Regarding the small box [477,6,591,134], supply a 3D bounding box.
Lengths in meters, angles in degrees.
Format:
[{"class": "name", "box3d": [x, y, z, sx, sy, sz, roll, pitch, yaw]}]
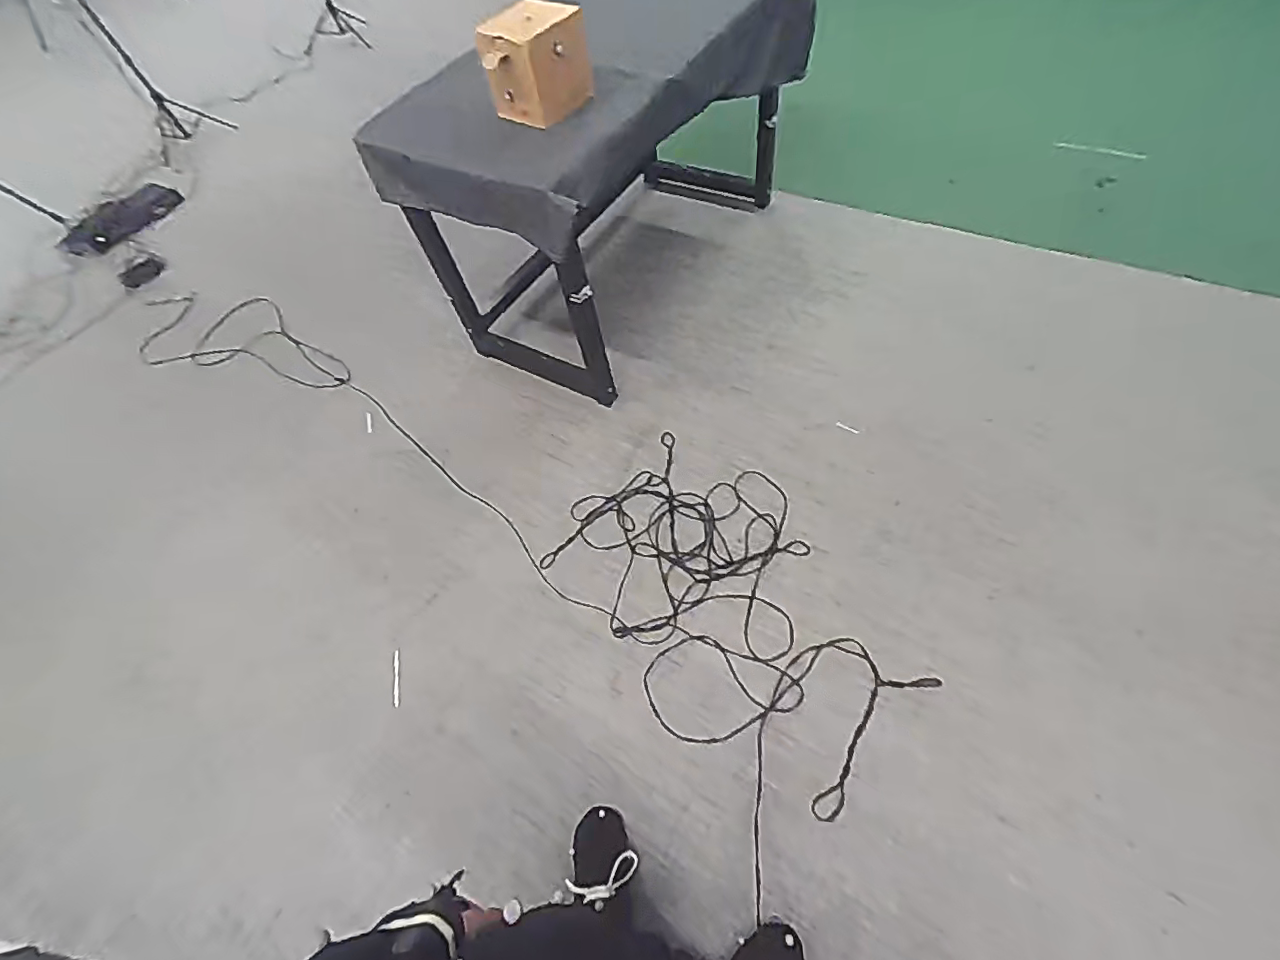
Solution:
[{"class": "small box", "box3d": [-0.226, -0.921, 1.217, 0.168, 0.176, 0.179, 31, 67, 24]}]
